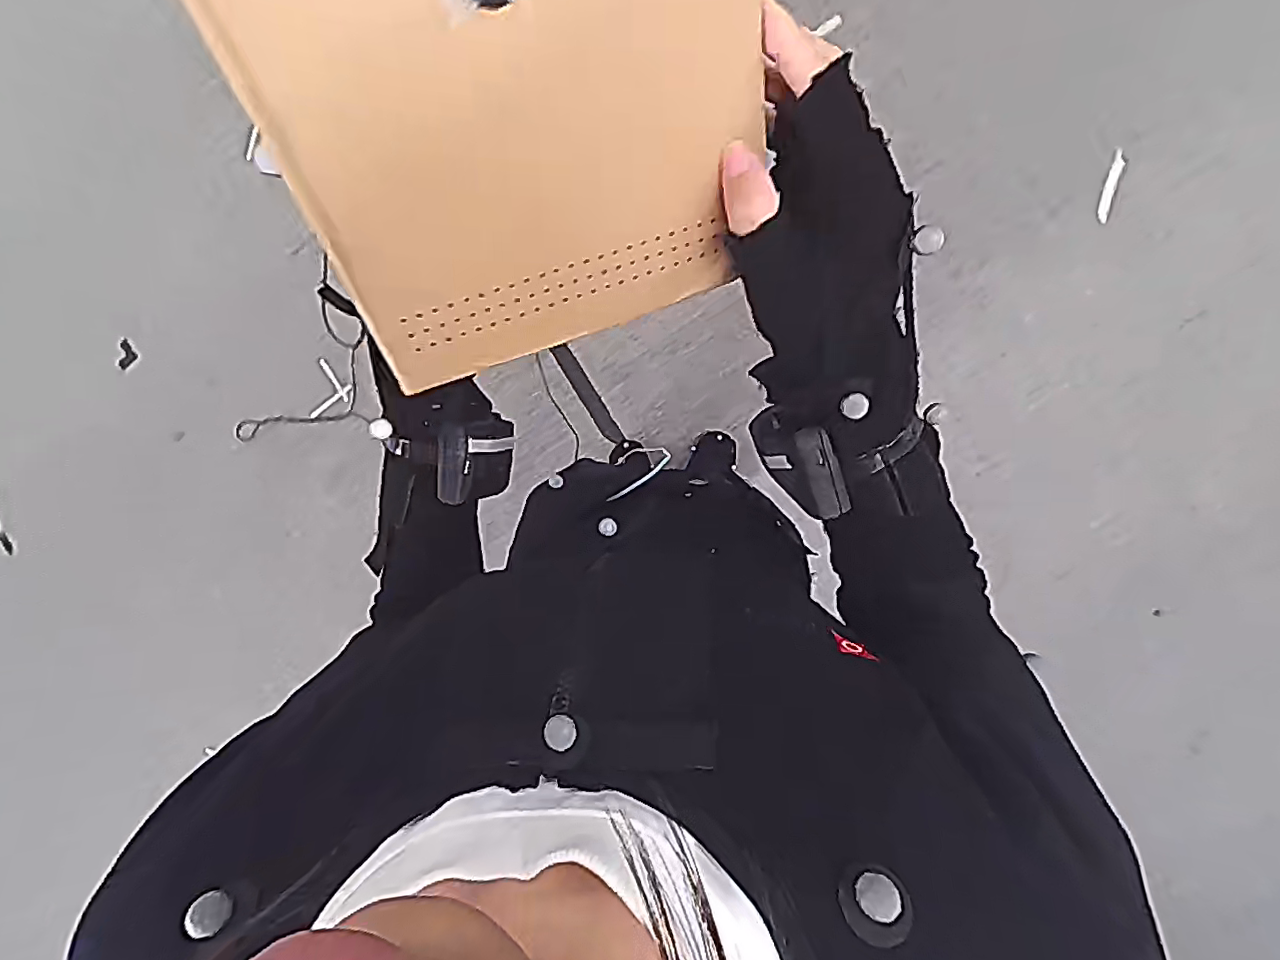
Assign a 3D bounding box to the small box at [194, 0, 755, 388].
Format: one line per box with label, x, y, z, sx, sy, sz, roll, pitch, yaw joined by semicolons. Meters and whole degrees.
small box;-0.061;-0.168;0.252;0.179;0.168;0.176;-23;133;-9
